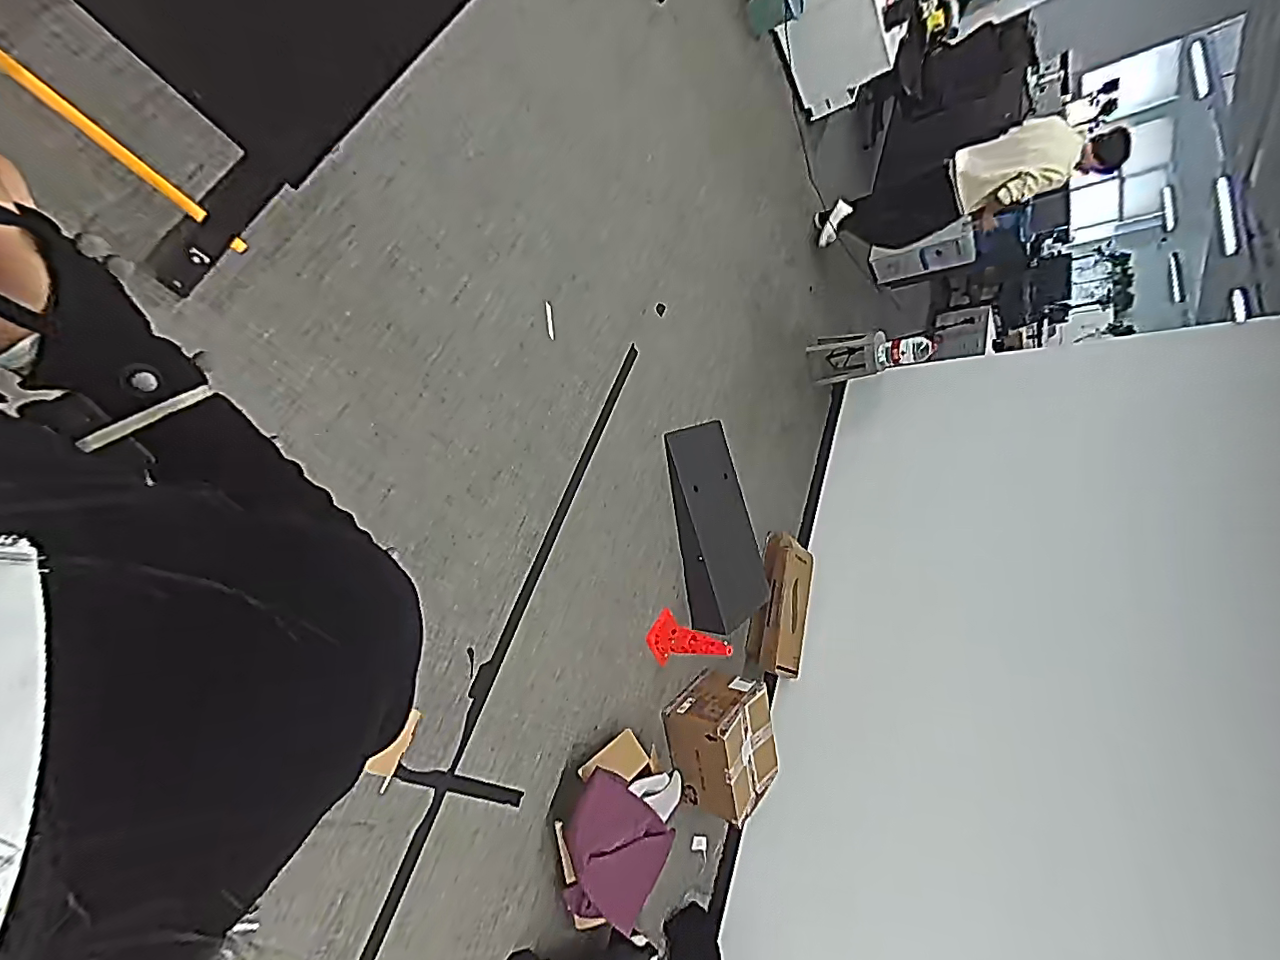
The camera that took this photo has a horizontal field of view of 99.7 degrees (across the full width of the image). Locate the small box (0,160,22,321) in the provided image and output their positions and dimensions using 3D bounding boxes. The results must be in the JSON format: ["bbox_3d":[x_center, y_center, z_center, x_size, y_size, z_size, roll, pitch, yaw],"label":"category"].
[{"bbox_3d":[-0.368,-0.153,0.191,0.168,0.176,0.179,-13,108,-53],"label":"small box"}]

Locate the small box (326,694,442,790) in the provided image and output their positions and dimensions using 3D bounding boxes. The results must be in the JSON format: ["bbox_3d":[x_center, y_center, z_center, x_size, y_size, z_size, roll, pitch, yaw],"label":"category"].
[{"bbox_3d":[-0.651,0.662,1.376,0.179,0.176,0.168,42,58,-40],"label":"small box"}]
